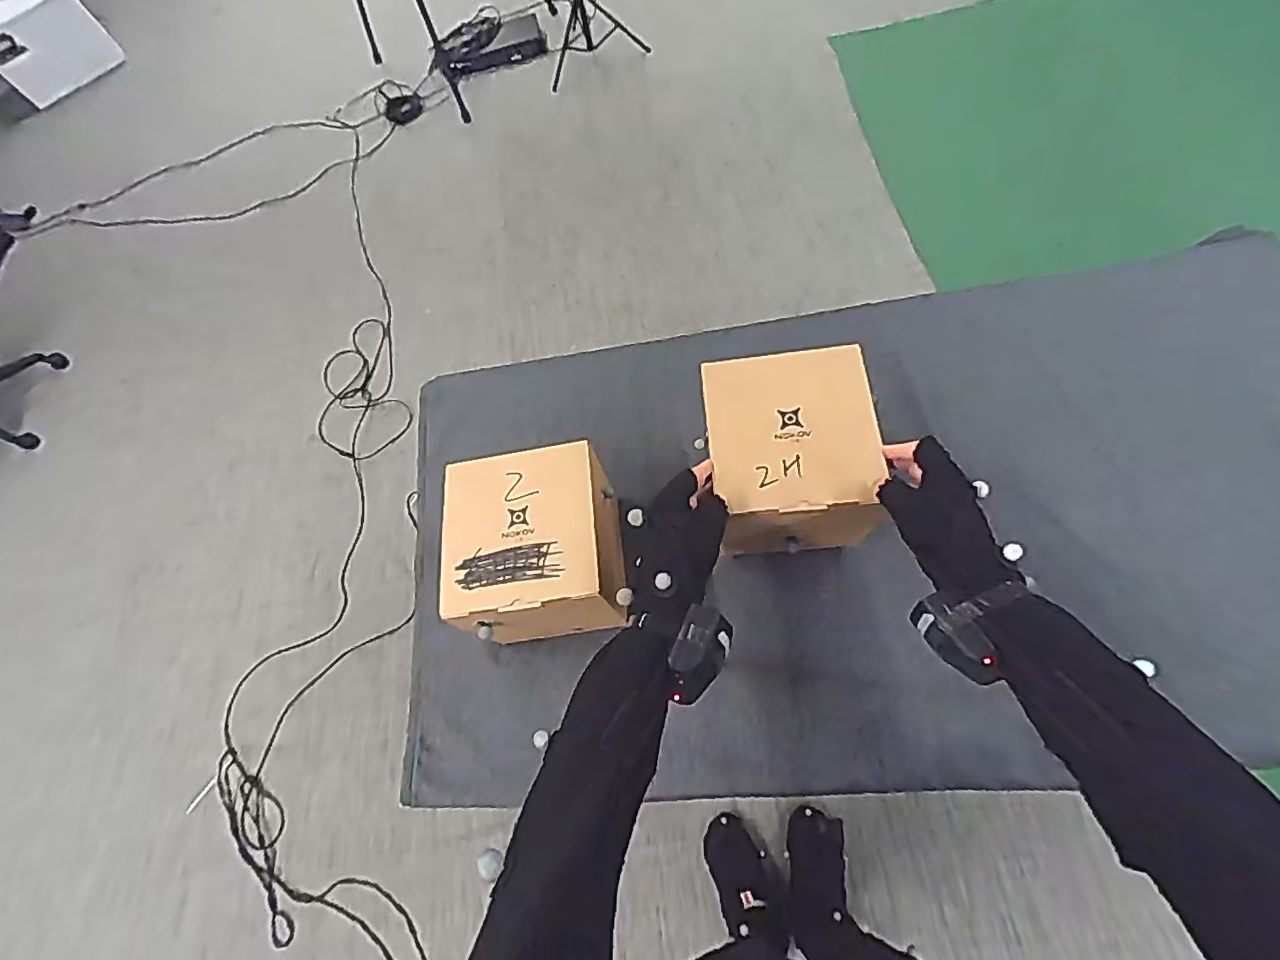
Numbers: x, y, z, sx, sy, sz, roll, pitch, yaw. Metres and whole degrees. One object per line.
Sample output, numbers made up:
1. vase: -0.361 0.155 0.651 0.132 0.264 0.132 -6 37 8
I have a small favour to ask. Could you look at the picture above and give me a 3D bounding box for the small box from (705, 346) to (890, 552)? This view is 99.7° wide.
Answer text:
1. small box: 0.163 -0.025 0.616 0.168 0.176 0.179 -6 69 8
